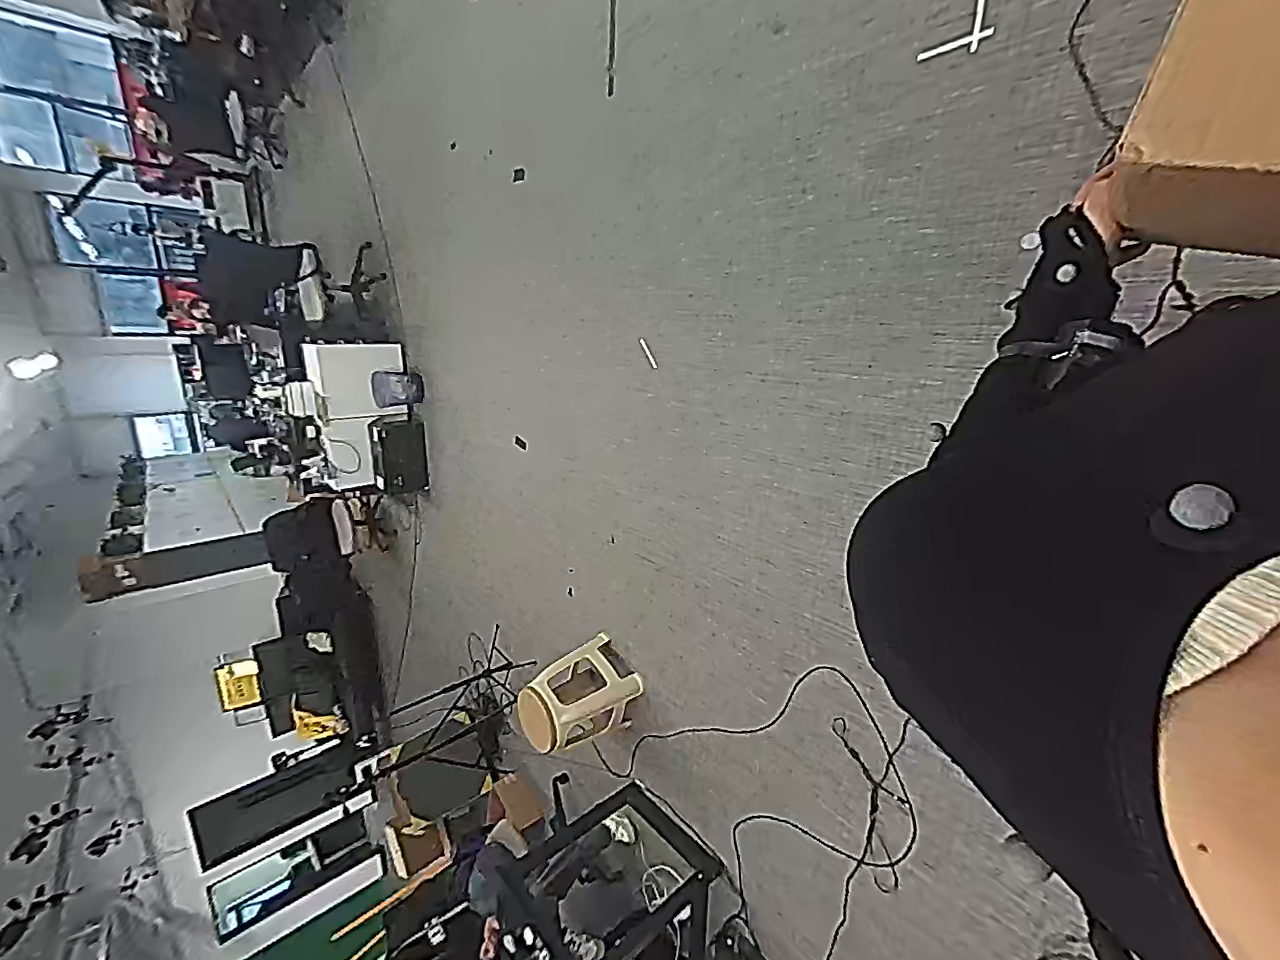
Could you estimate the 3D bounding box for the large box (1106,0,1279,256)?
[{"bbox_3d":[0.490,-0.252,0.204,0.408,0.320,0.320,26,119,32],"label":"large box"}]
